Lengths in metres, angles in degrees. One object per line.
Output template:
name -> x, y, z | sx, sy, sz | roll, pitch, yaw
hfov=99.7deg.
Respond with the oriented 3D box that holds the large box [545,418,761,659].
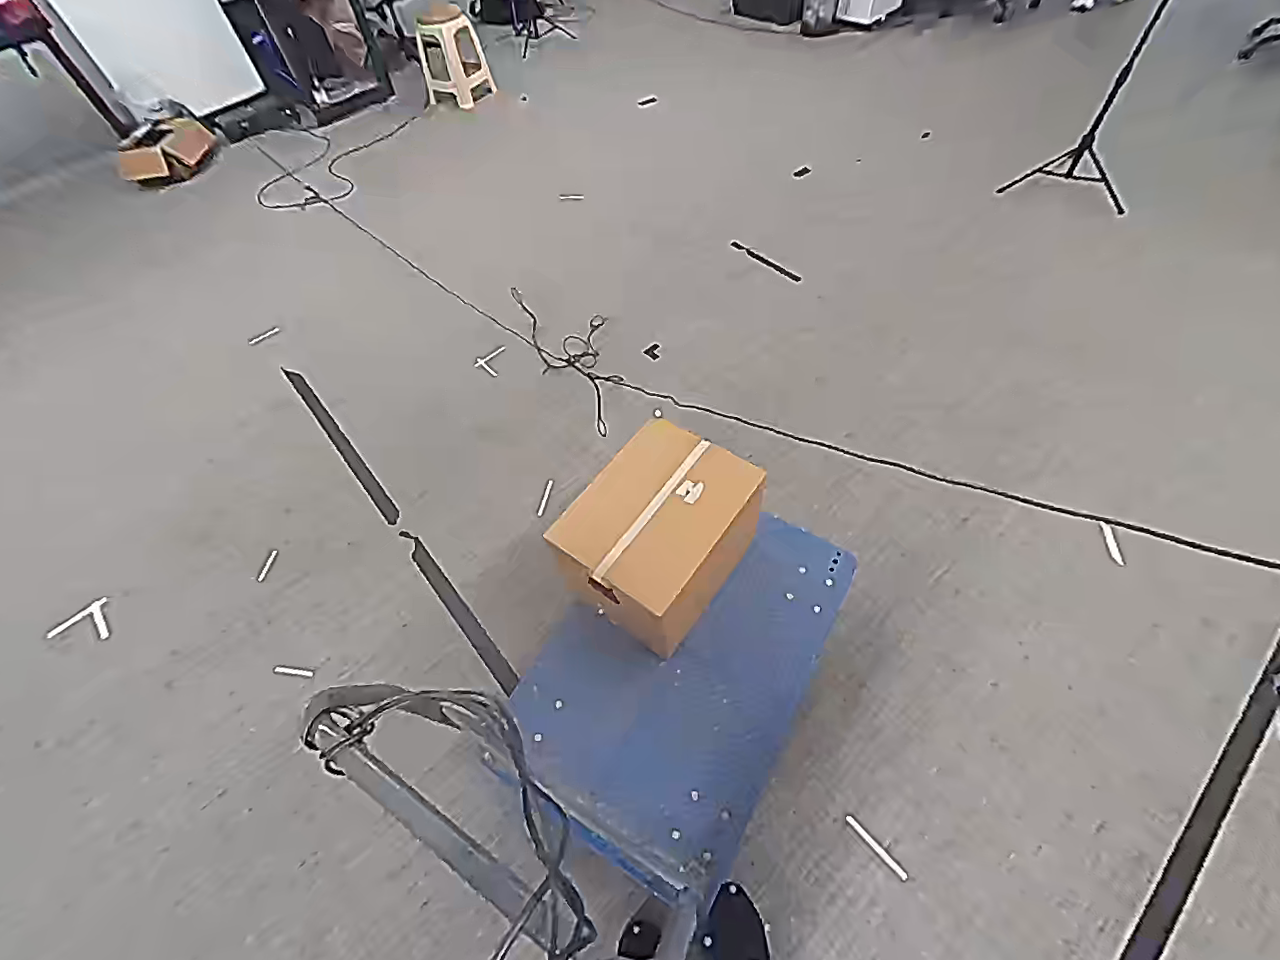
large box -> 0.044, 0.139, 1.284 | 0.320, 0.320, 0.408 | 30, 63, 22
